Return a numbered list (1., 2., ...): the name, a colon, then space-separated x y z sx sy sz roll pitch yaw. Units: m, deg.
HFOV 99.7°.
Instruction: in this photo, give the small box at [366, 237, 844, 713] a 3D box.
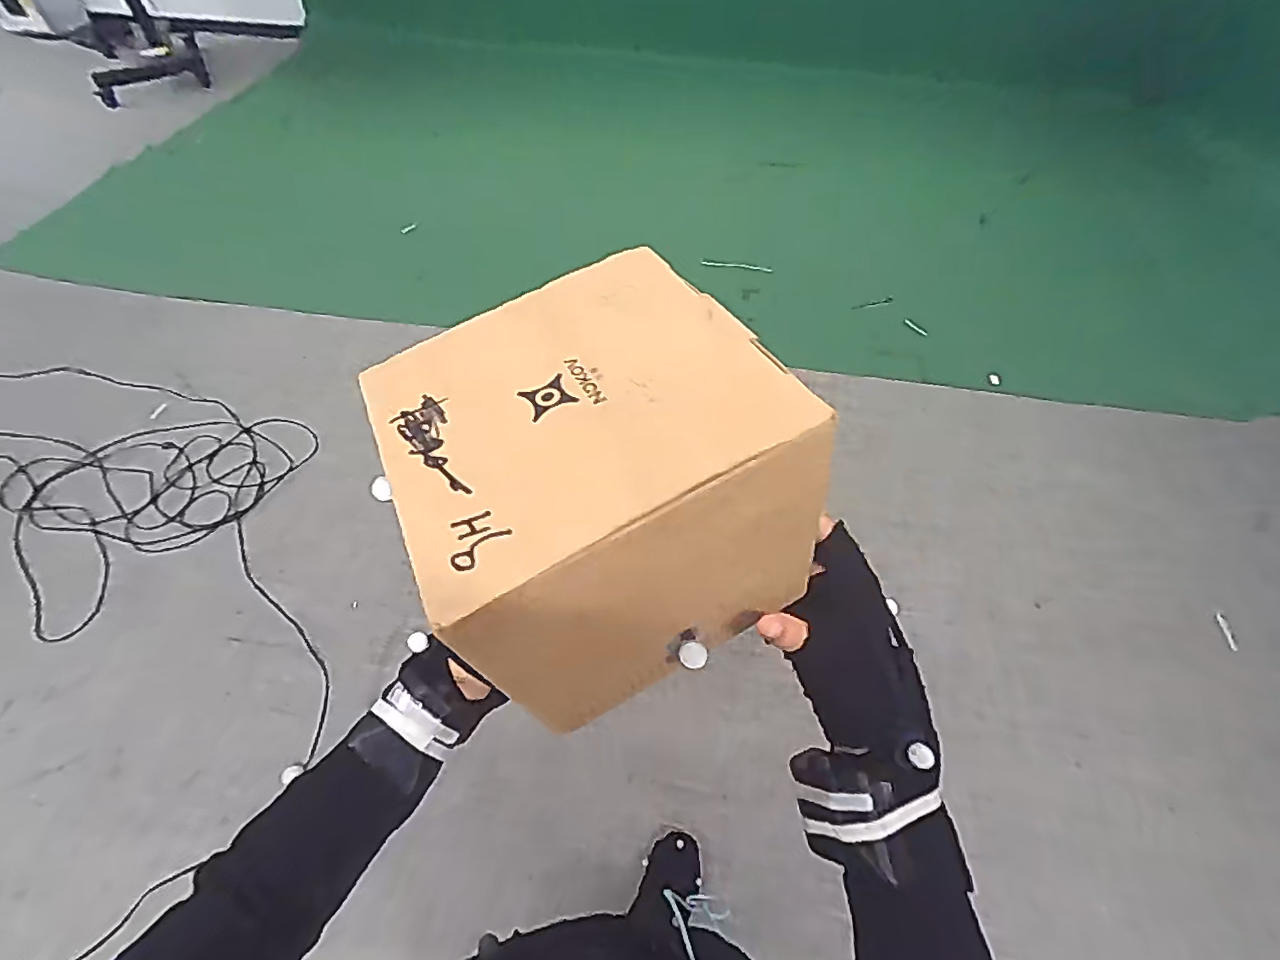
1. small box: -0.019 0.001 0.310 0.179 0.176 0.168 -27 53 -10
